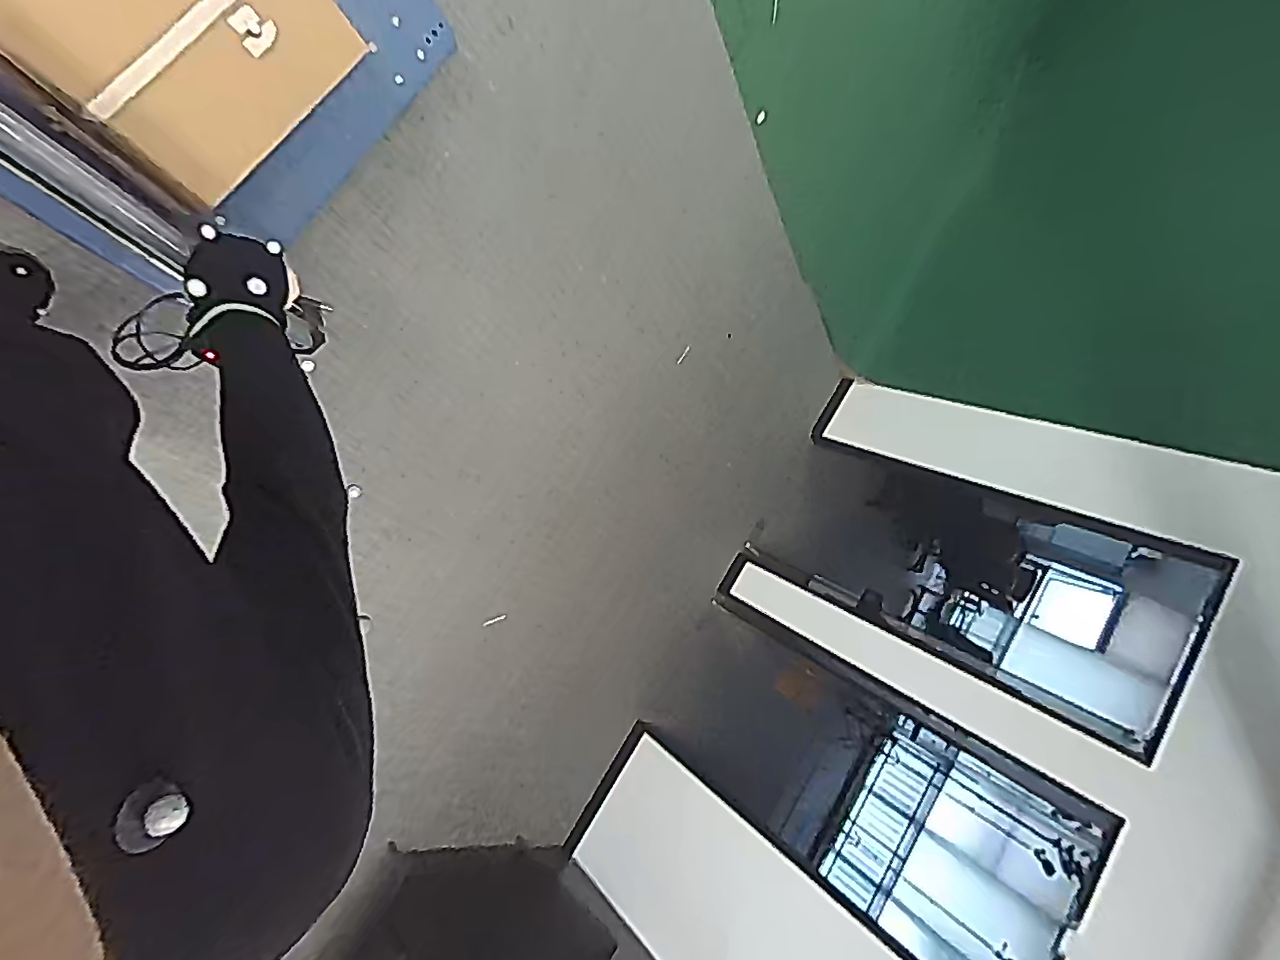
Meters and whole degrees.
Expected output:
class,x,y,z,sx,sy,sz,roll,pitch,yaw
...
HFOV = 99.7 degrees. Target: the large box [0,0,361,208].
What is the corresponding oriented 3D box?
class,x,y,z,sx,sy,sz,roll,pitch,yaw
large box,-0.748,-0.699,0.855,0.408,0.320,0.320,-56,141,-12
